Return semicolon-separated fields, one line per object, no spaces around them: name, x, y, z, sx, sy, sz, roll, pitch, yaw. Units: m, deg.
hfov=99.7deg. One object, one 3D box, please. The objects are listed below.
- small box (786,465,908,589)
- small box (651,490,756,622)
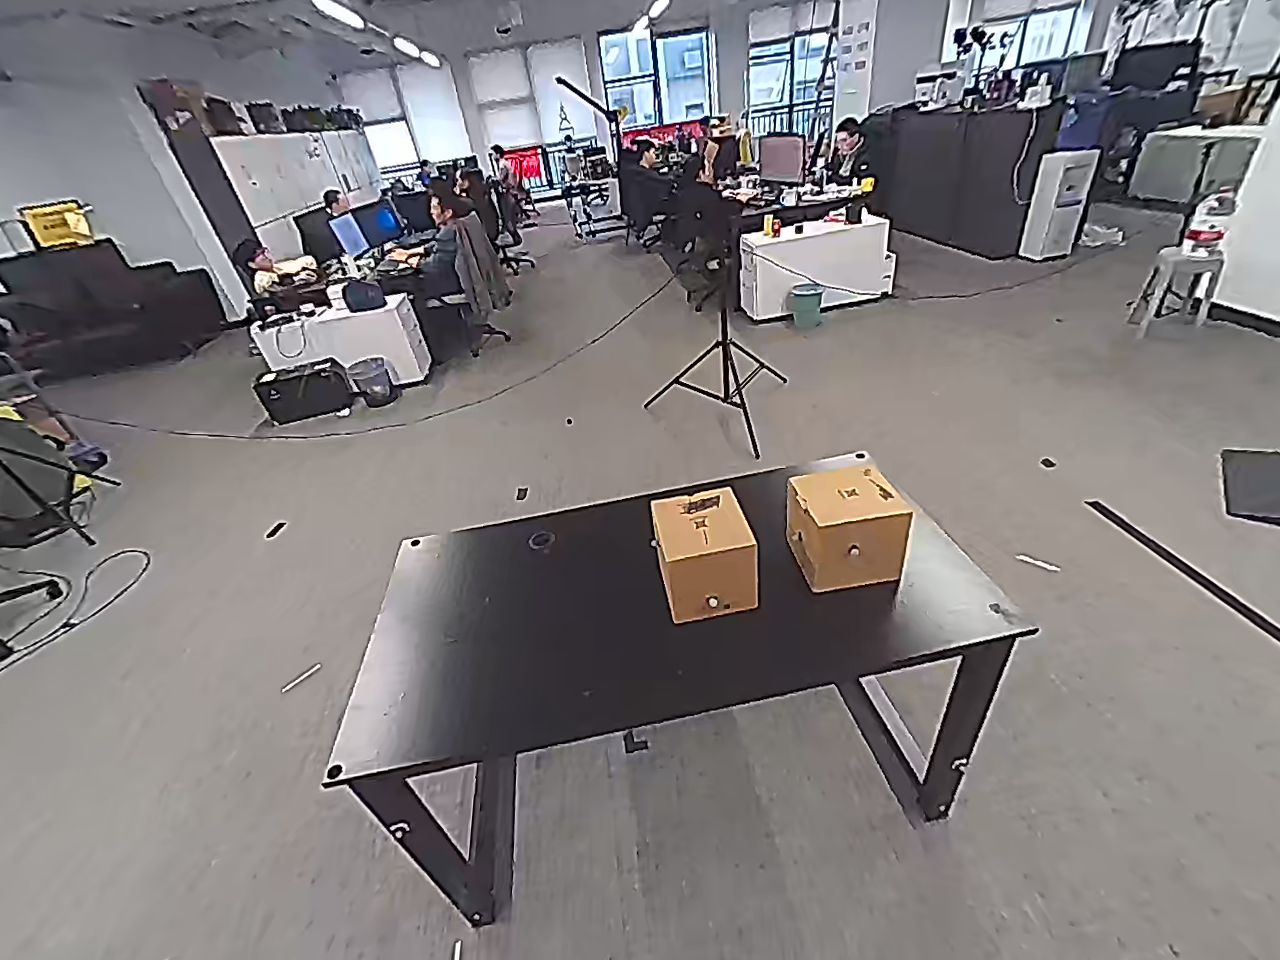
small box;0.398;0.096;1.065;0.179;0.176;0.168;-10;34;1
small box;0.121;0.146;1.057;0.168;0.176;0.179;-11;35;-2
